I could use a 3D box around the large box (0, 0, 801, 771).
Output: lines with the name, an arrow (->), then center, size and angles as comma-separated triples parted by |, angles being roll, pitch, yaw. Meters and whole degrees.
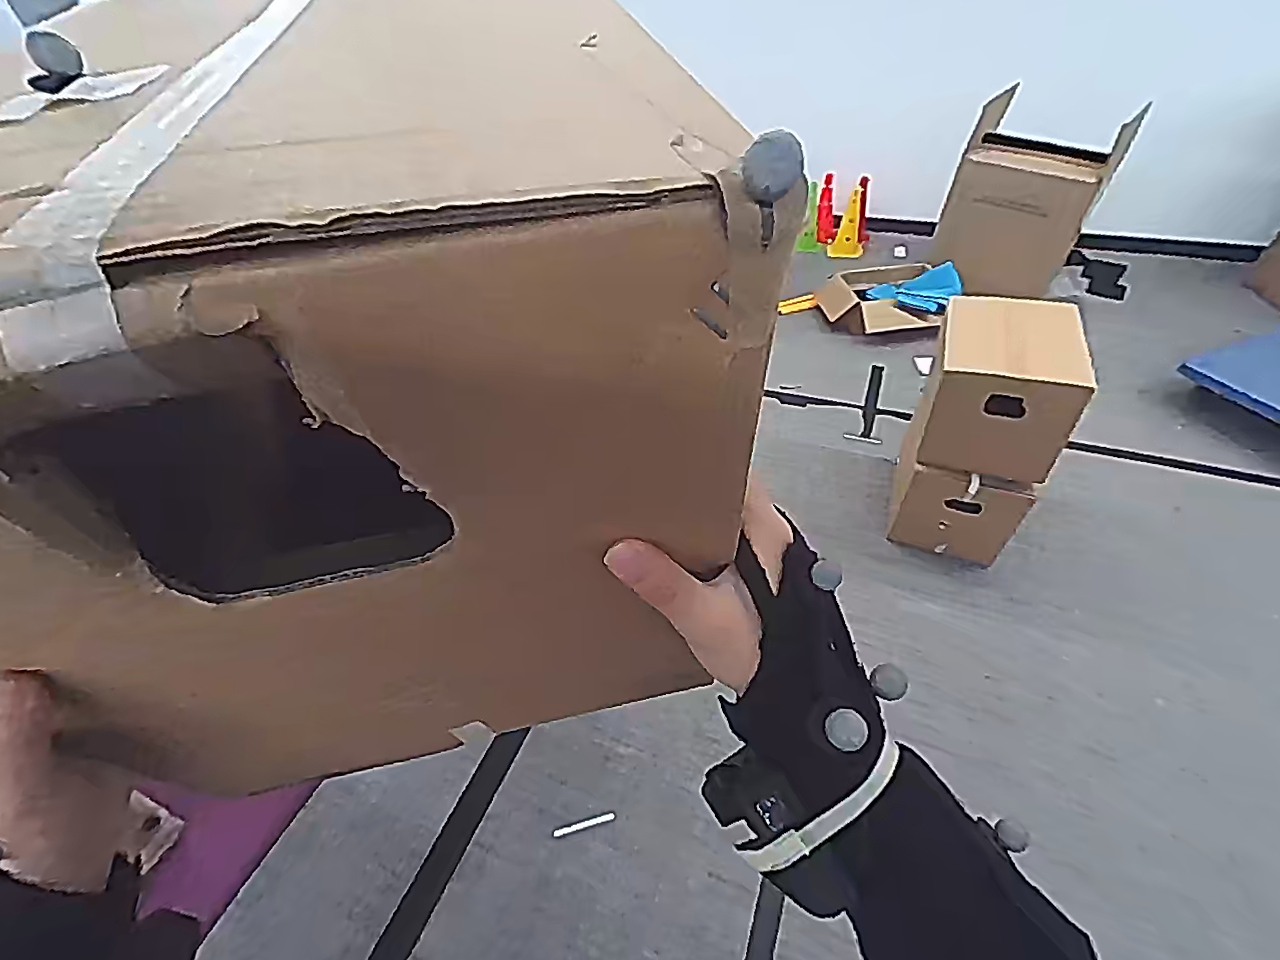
large box -> -0.145, -0.089, 0.361 | 0.320, 0.320, 0.408 | -13, 51, -5
